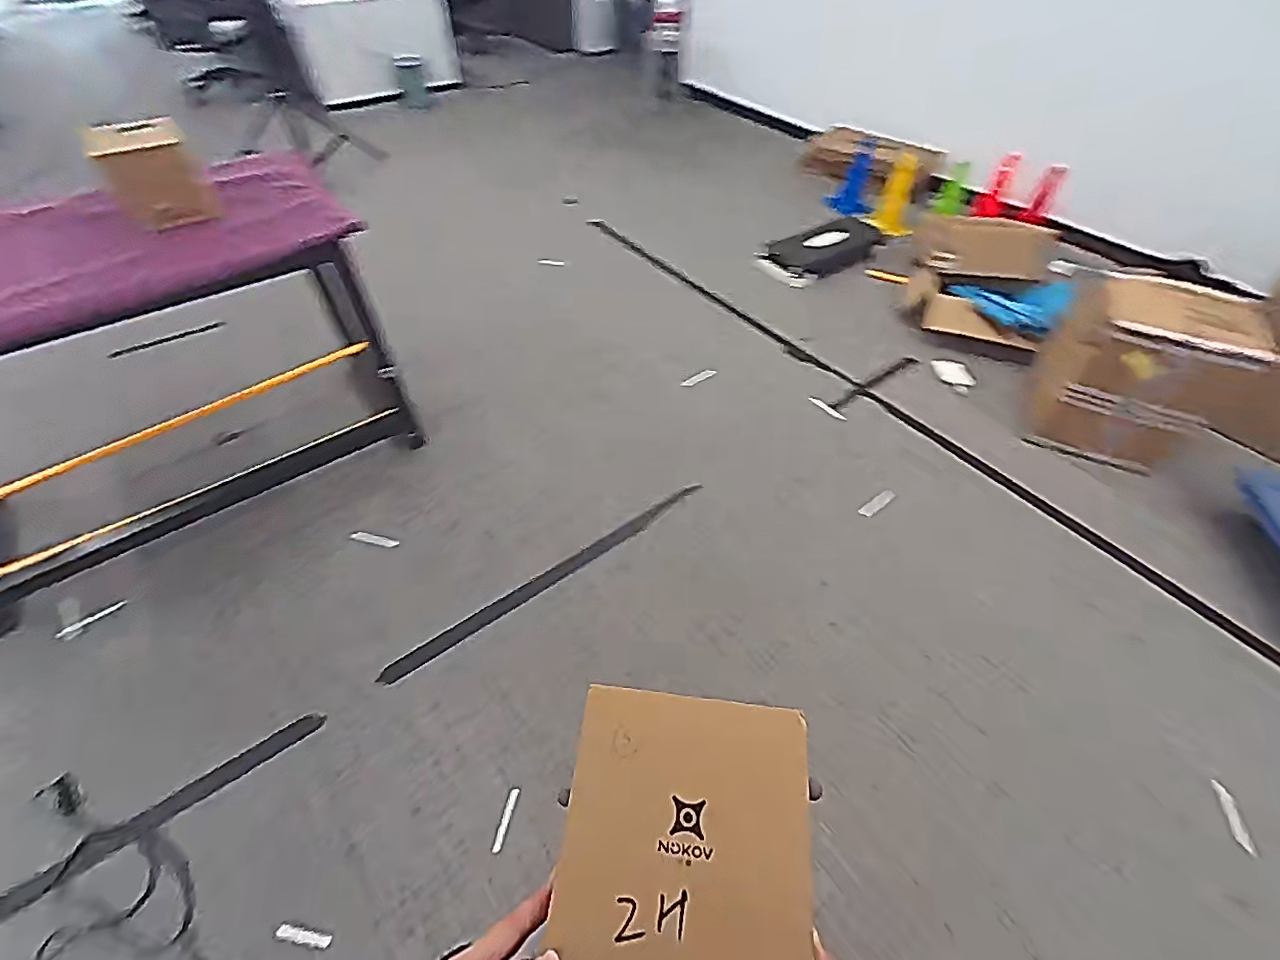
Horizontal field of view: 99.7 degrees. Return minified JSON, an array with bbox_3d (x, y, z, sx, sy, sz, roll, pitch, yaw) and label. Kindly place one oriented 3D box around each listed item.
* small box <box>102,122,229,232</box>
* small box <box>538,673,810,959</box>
[{"bbox_3d":[-1.115,-0.715,1.277,0.168,0.176,0.179,-27,56,-22],"label":"small box"},{"bbox_3d":[0.033,0.273,0.429,0.168,0.176,0.179,4,56,7],"label":"small box"}]
